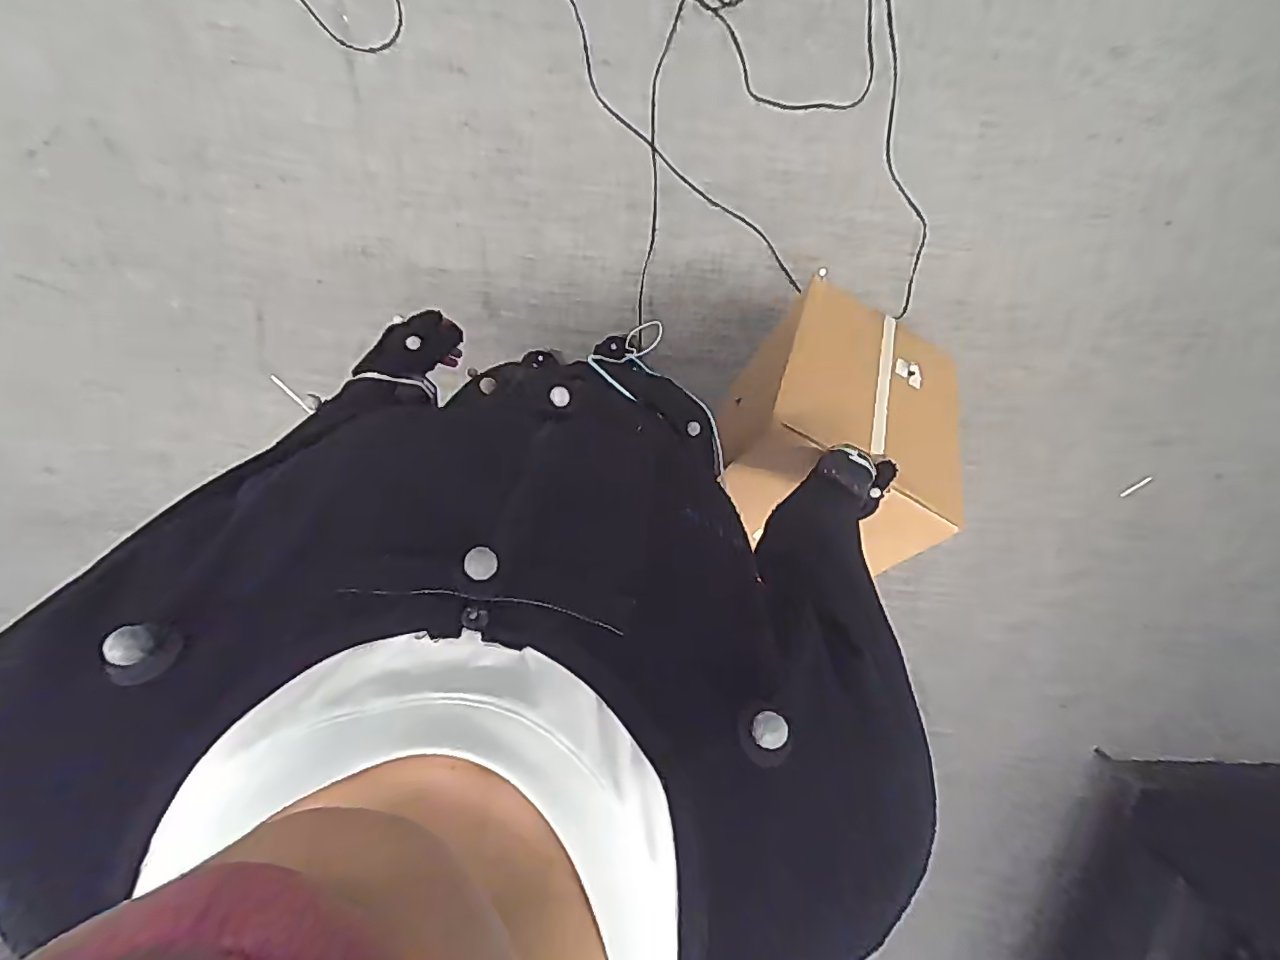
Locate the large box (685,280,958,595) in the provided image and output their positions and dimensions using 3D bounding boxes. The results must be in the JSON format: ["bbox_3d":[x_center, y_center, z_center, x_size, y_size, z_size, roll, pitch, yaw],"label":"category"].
[{"bbox_3d":[0.323,-0.070,0.978,0.320,0.408,0.320,30,142,-5],"label":"large box"}]
